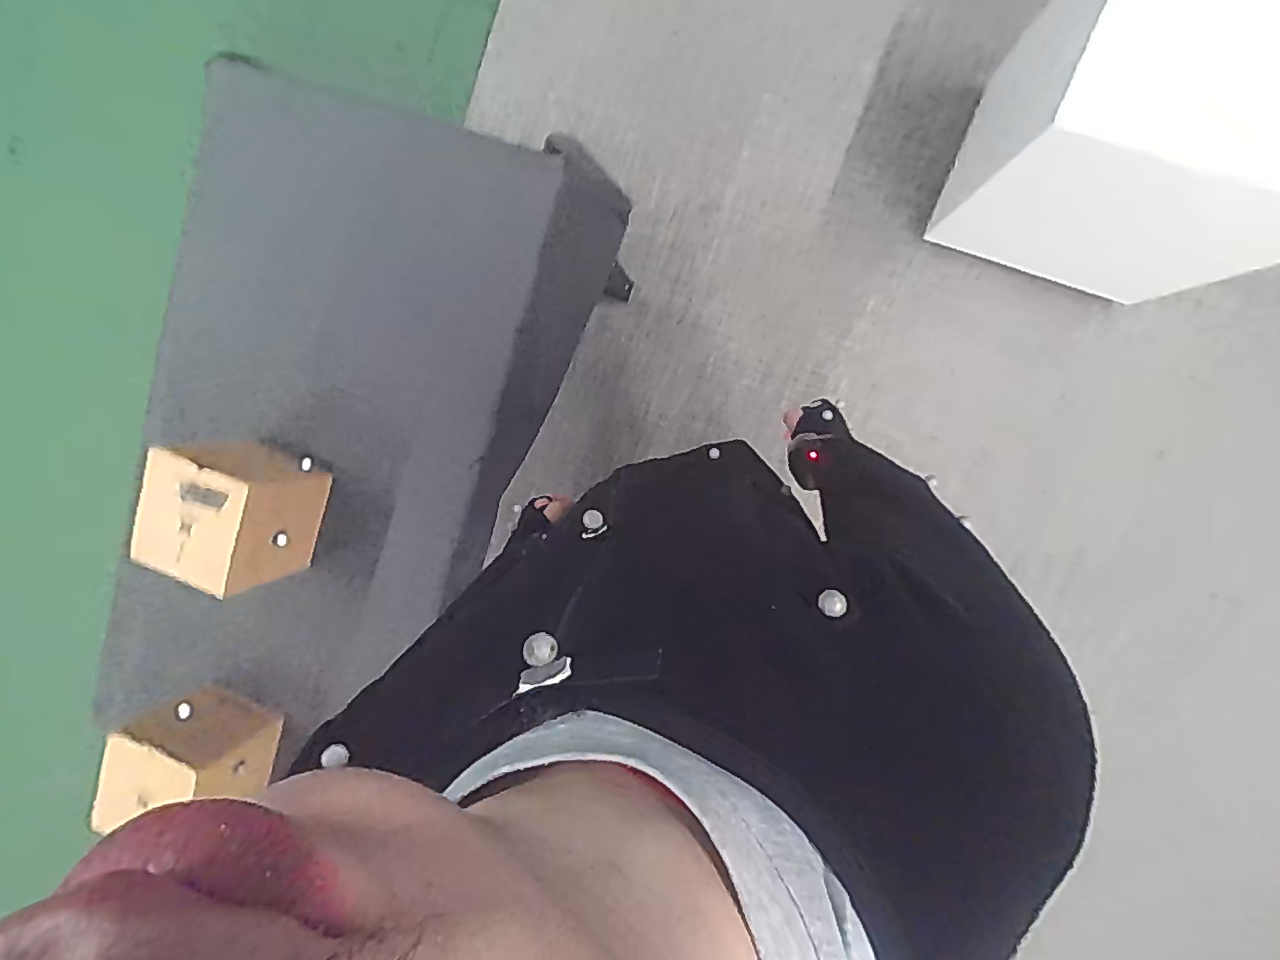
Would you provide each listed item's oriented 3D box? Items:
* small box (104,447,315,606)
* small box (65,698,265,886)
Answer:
[{"bbox_3d":[-0.631,0.056,0.813,0.168,0.176,0.179,21,99,5],"label":"small box"},{"bbox_3d":[-0.752,0.488,0.874,0.168,0.176,0.179,19,99,6],"label":"small box"}]
